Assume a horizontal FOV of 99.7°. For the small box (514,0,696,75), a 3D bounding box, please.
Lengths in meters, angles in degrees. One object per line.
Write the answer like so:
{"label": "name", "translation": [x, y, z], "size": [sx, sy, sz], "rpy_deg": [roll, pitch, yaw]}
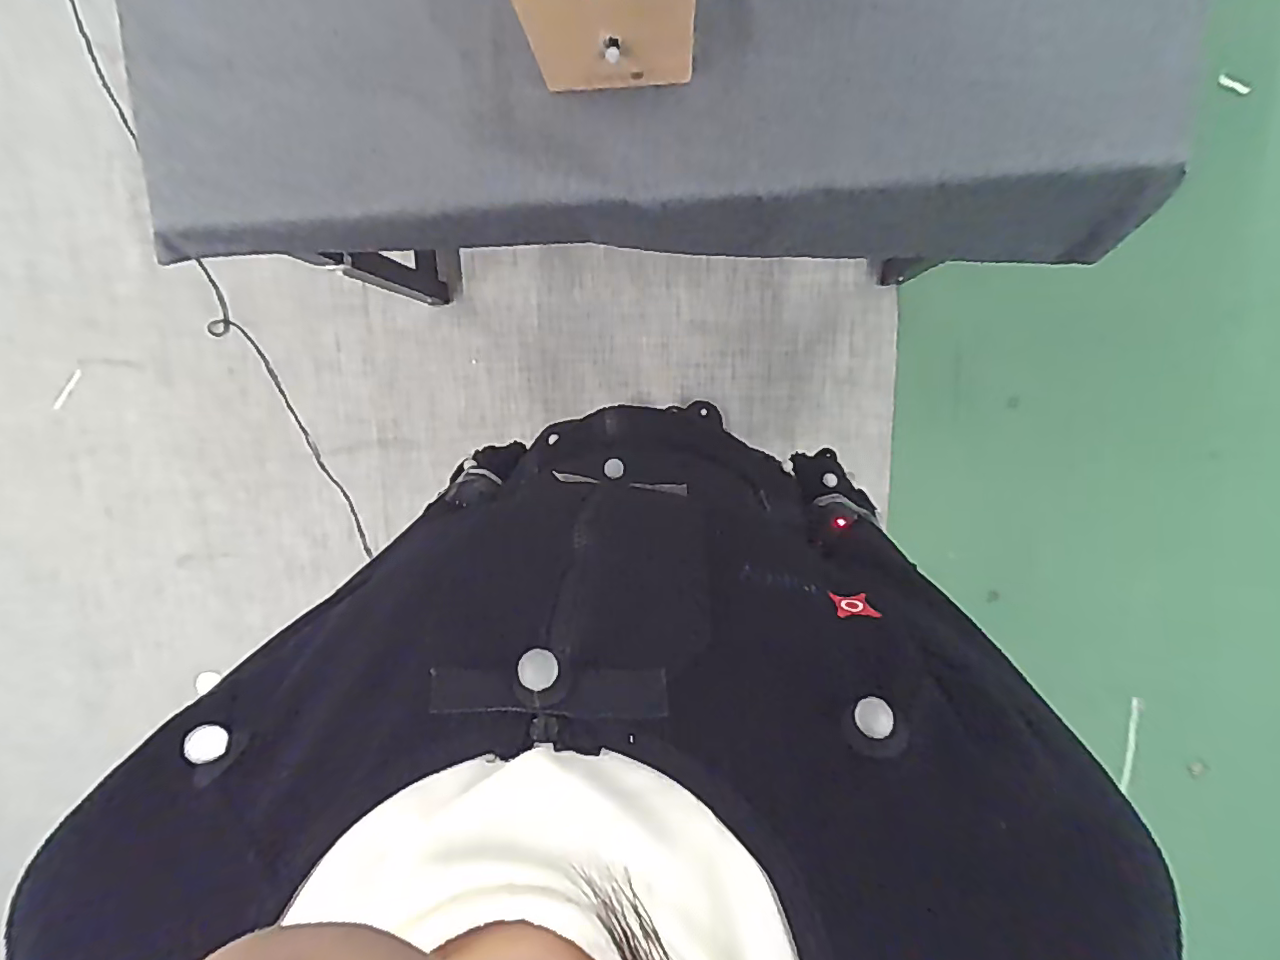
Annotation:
{"label": "small box", "translation": [-0.030, -0.528, 0.523], "size": [0.168, 0.176, 0.179], "rpy_deg": [-2, 100, 5]}
